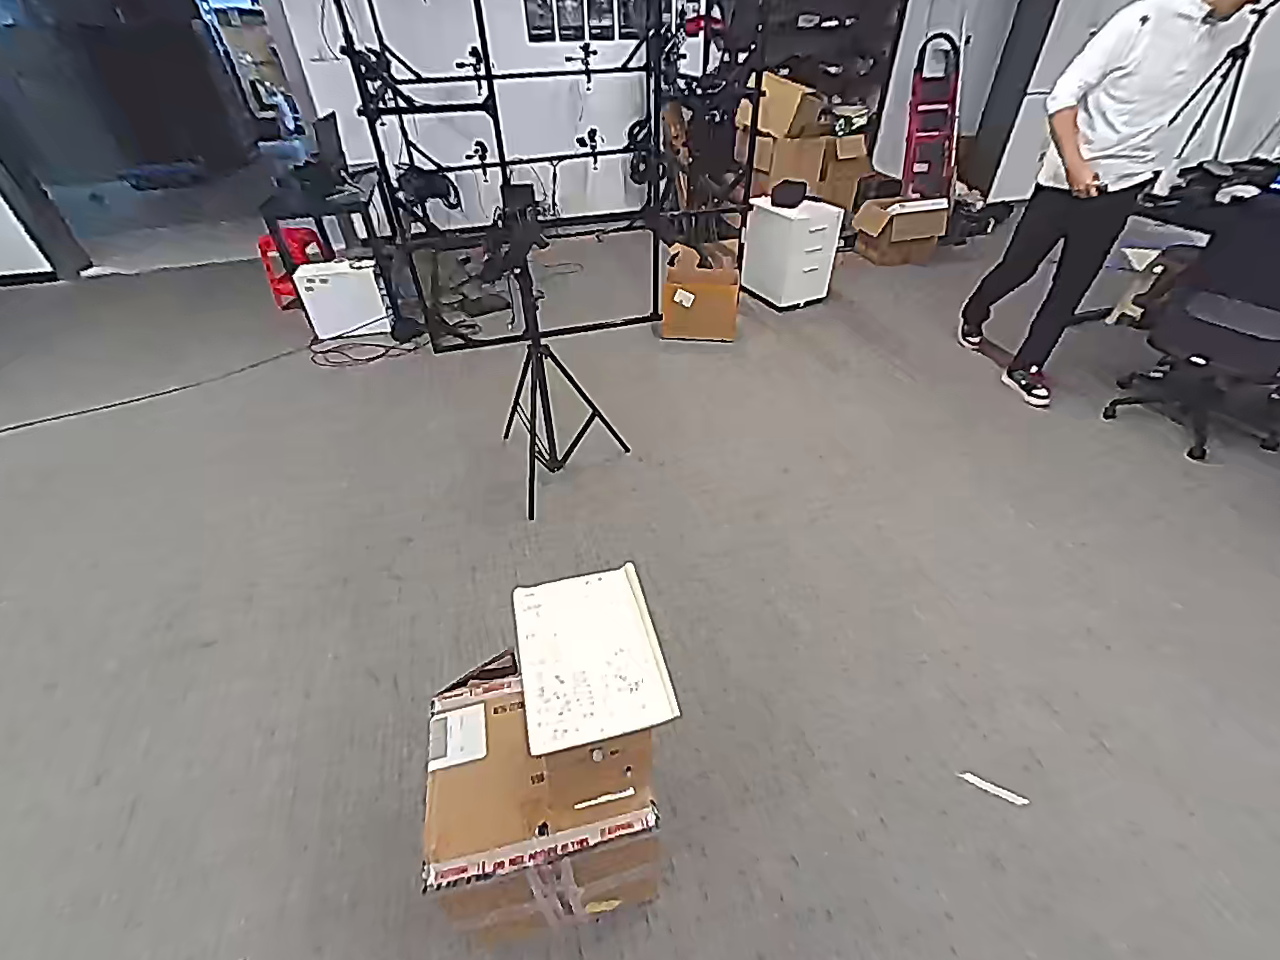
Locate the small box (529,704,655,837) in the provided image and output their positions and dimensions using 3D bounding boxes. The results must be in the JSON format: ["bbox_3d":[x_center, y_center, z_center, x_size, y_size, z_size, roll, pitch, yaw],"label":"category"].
[{"bbox_3d":[-0.084,0.475,0.929,0.179,0.176,0.168,-12,42,-14],"label":"small box"}]

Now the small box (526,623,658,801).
[{"bbox_3d":[-0.077,0.350,0.822,0.168,0.176,0.179,-9,43,-12],"label":"small box"}]
